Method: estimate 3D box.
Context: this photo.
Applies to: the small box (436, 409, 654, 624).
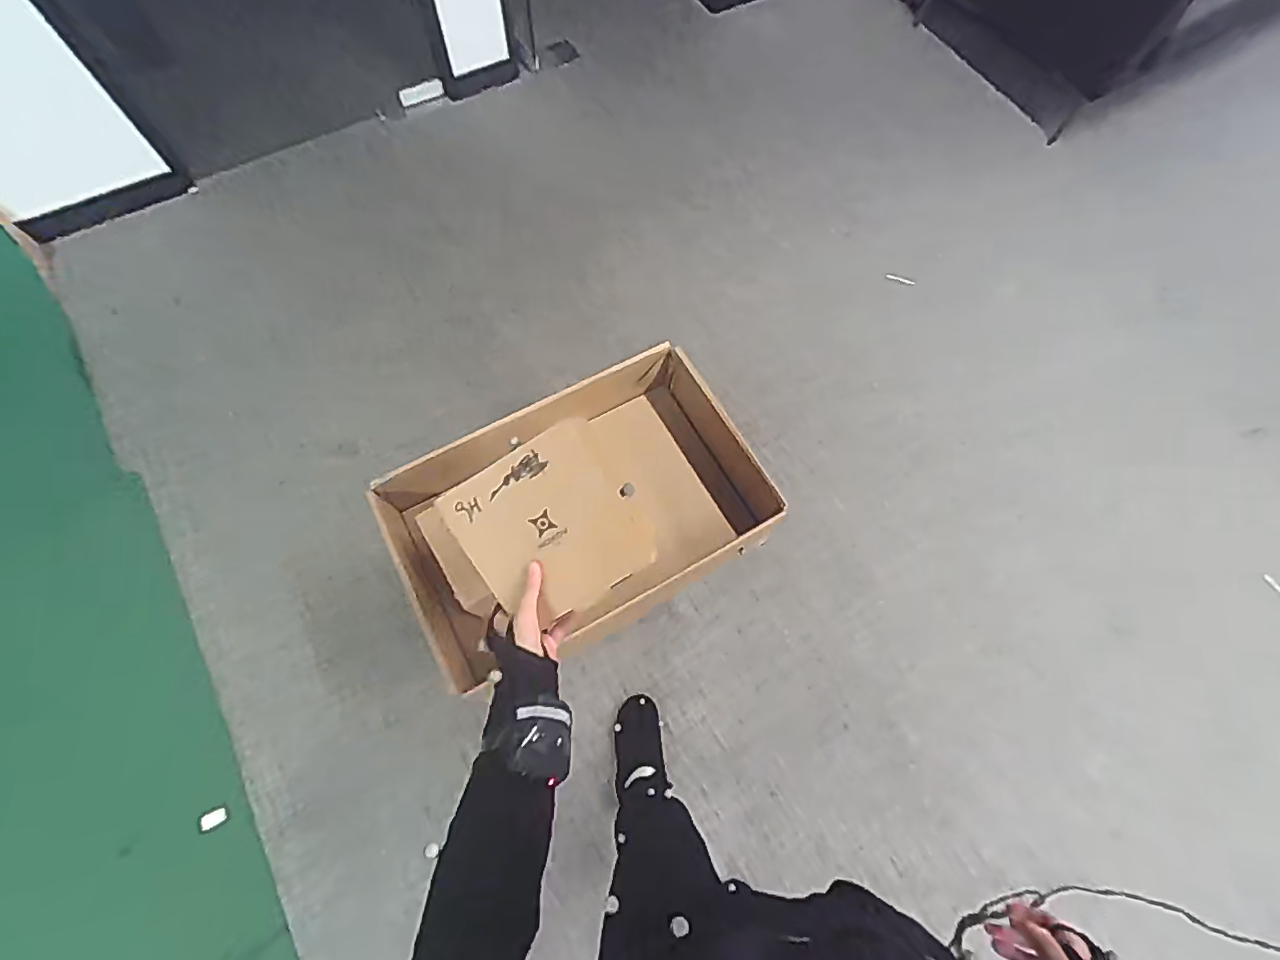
[{"bbox_3d":[-0.097,0.029,0.631,0.168,0.176,0.179,-31,97,2],"label":"small box"}]
